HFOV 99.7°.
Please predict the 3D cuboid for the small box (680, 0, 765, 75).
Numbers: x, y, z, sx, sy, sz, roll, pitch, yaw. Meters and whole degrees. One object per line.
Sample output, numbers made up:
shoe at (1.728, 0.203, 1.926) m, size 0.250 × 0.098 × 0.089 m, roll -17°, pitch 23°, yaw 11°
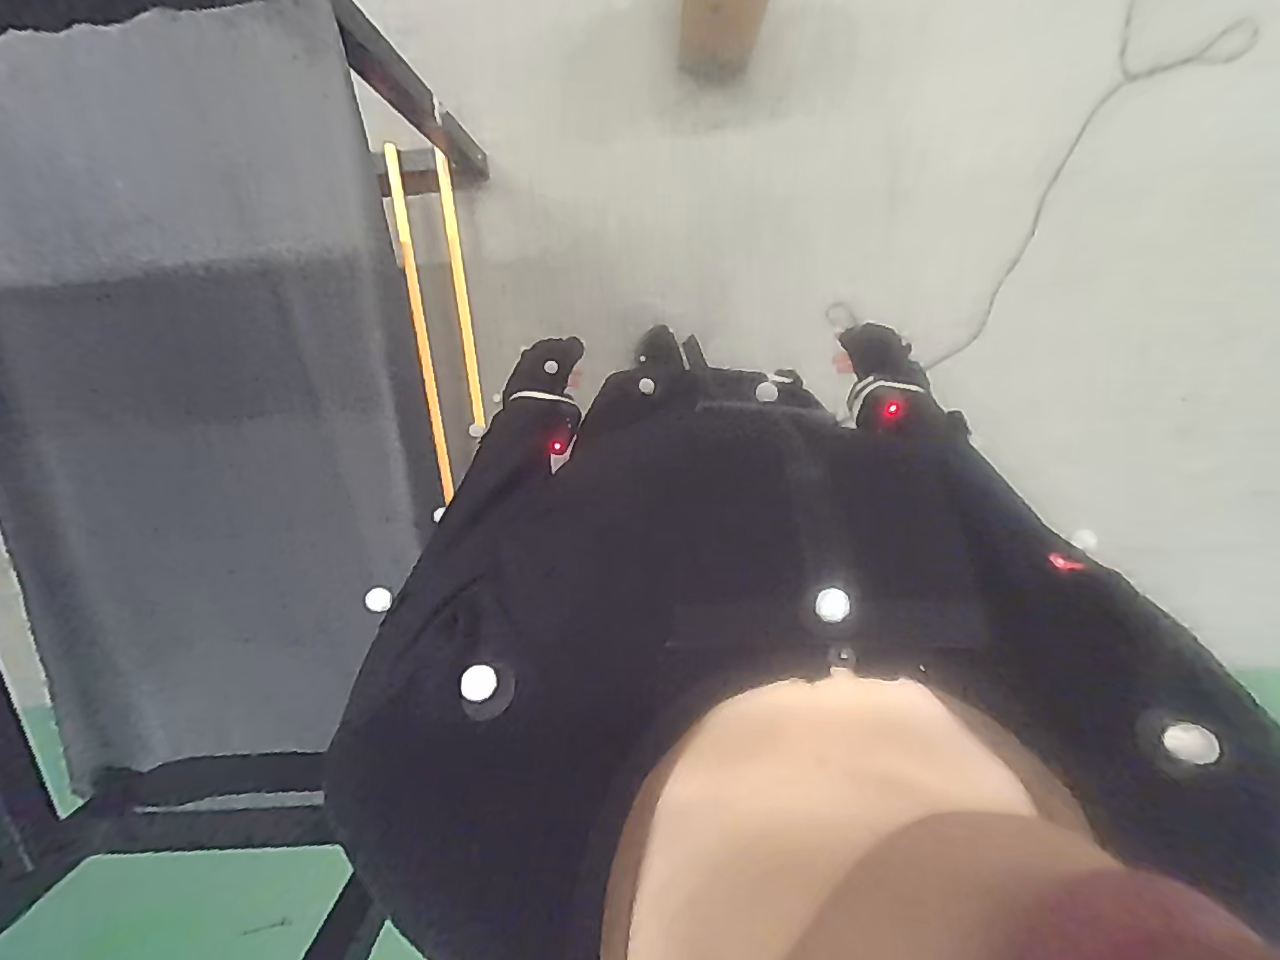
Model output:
small box at (0.175, -1.012, 1.159) m, size 0.168 × 0.176 × 0.179 m, roll 3°, pitch 104°, yaw 2°
